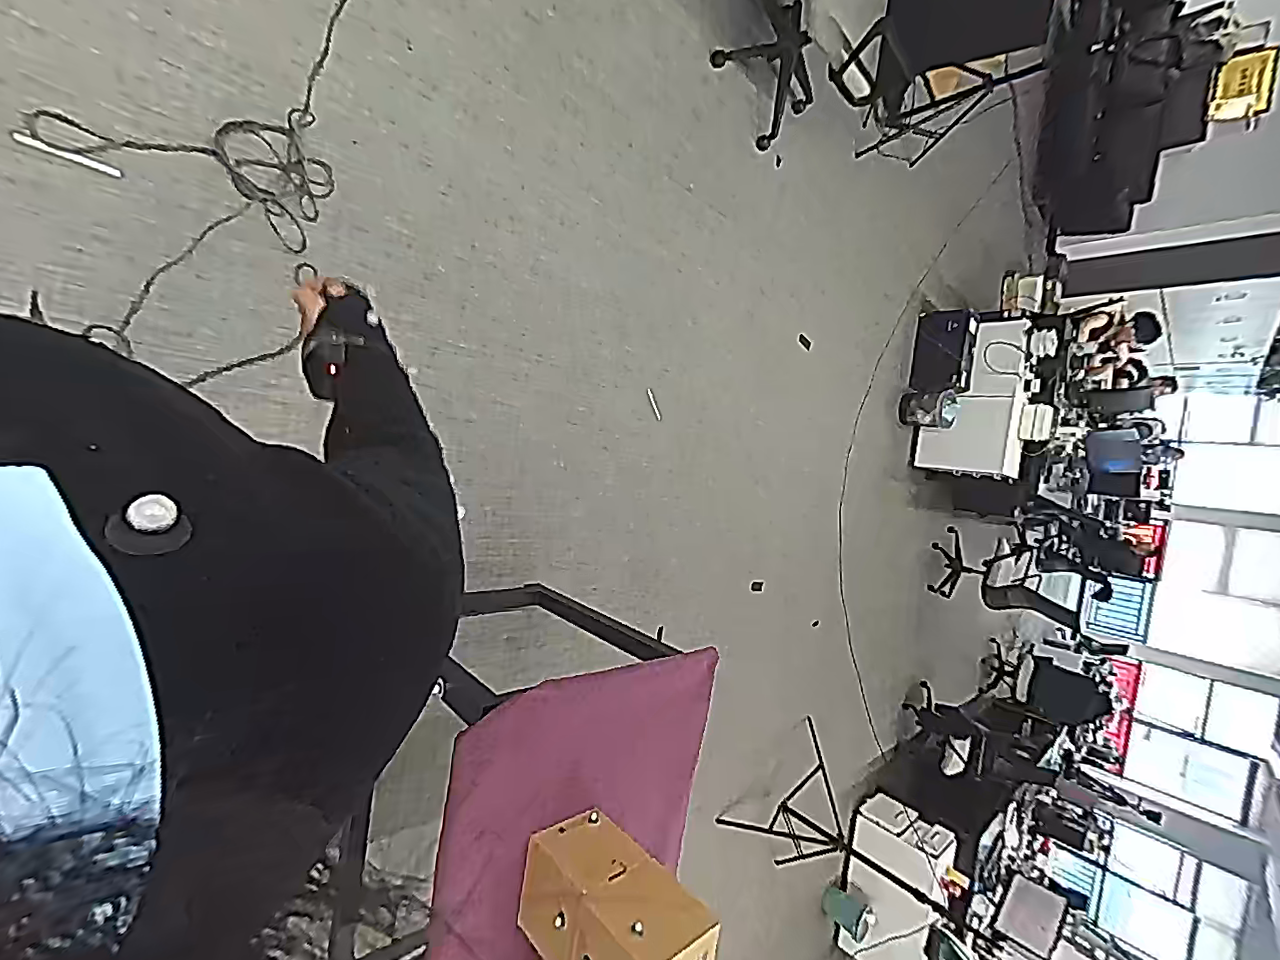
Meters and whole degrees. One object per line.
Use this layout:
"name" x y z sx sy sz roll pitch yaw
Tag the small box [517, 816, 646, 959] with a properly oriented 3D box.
"small box" -0.114 0.774 1.022 0.168 0.176 0.179 7 93 -44
